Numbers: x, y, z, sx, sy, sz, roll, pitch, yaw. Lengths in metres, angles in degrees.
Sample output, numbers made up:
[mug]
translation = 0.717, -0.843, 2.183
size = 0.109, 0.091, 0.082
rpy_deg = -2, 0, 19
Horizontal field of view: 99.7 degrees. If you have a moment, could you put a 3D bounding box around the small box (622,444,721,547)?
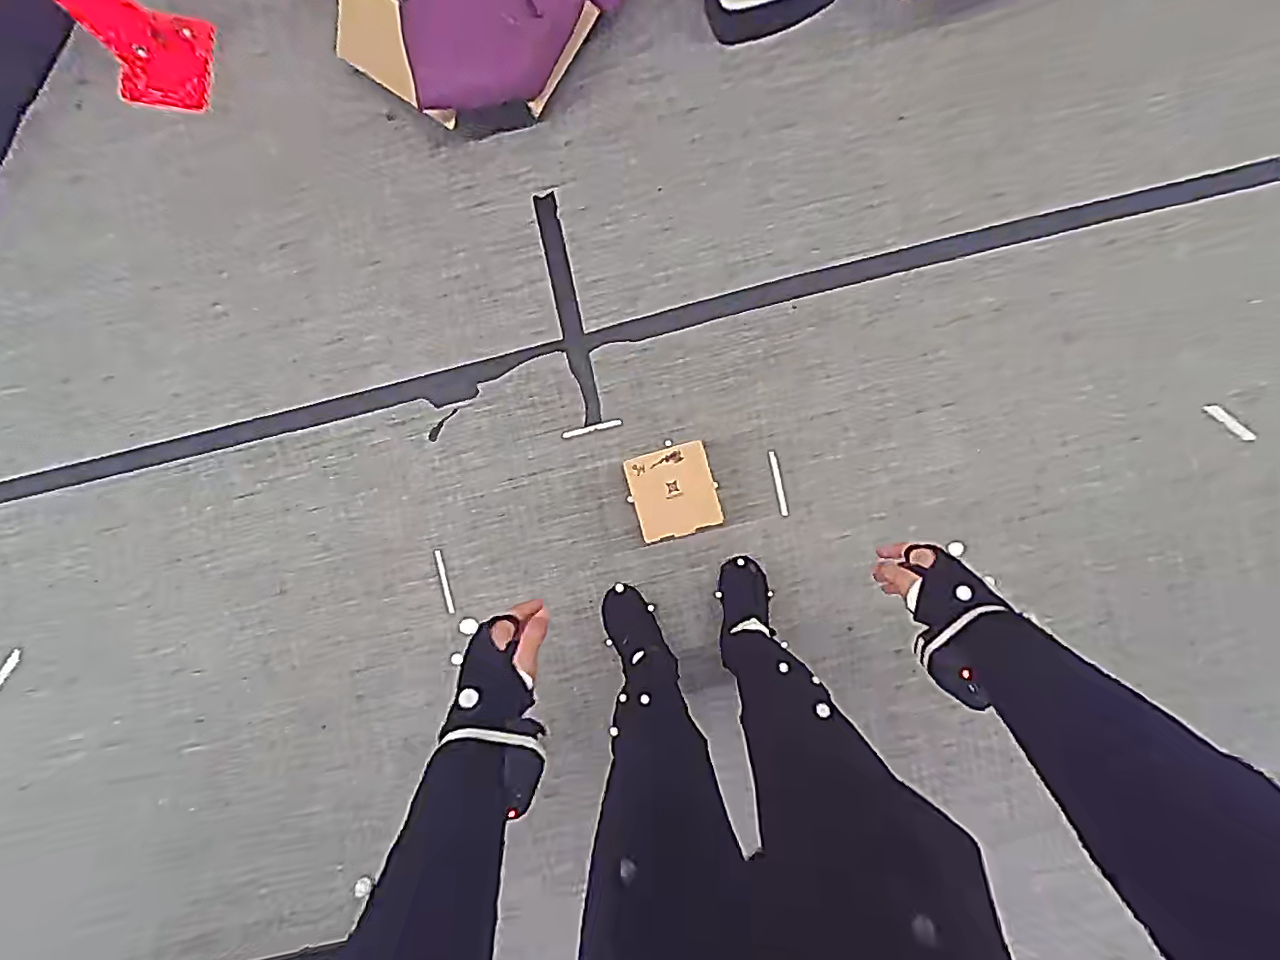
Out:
[small box]
translation = 0.066, 0.026, 1.146
size = 0.168, 0.176, 0.179
rpy_deg = -15, 93, 2
